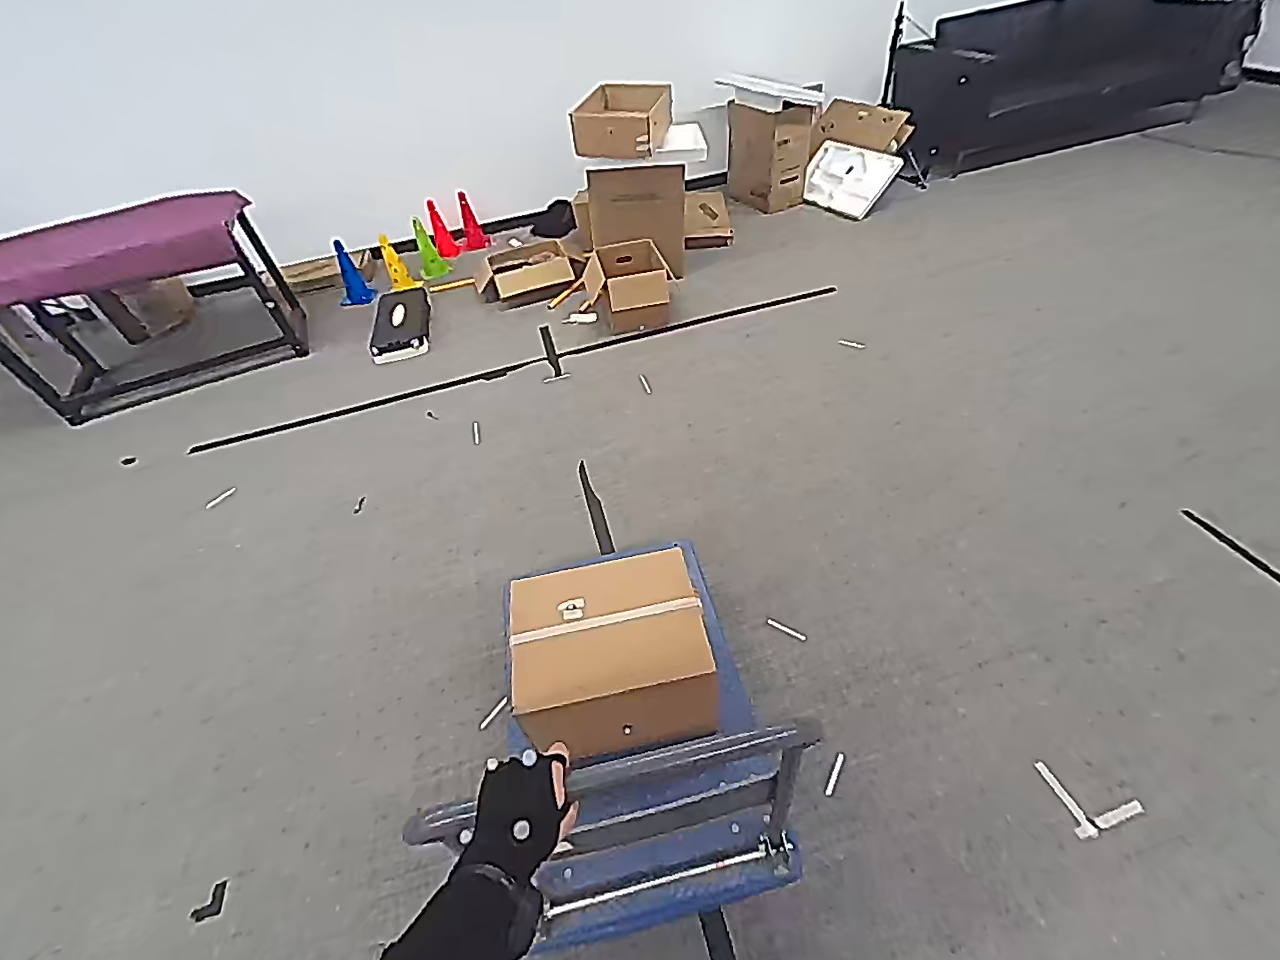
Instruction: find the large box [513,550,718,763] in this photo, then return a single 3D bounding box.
[{"bbox_3d":[-0.054,0.415,1.266,0.408,0.320,0.320,-12,44,-2],"label":"large box"}]
